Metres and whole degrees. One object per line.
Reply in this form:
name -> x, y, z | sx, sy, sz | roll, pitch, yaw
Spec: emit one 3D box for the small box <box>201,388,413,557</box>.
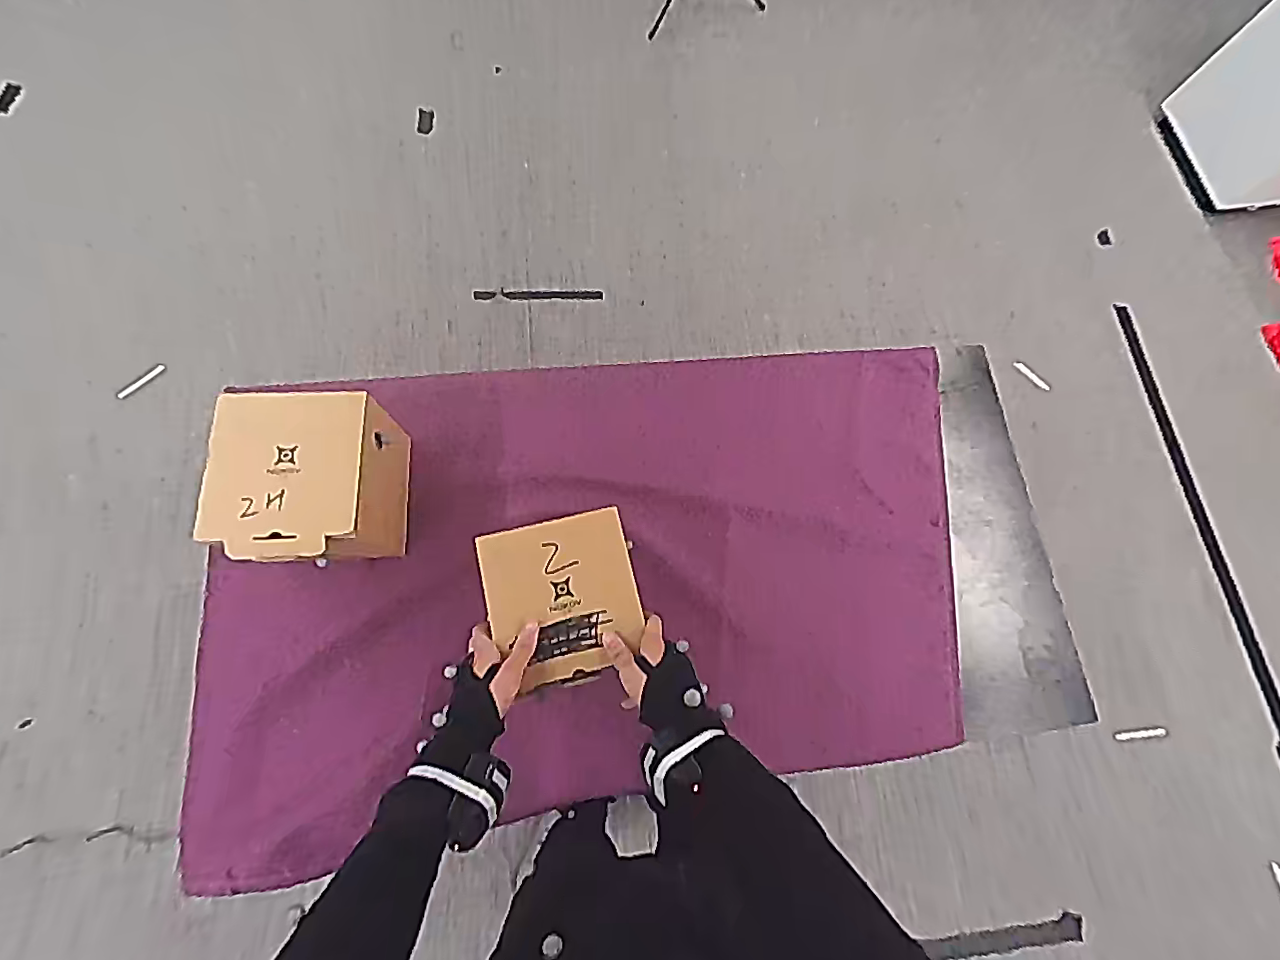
small box -> -0.399, -0.002, 0.685 | 0.168, 0.176, 0.179 | -1, 75, -5
